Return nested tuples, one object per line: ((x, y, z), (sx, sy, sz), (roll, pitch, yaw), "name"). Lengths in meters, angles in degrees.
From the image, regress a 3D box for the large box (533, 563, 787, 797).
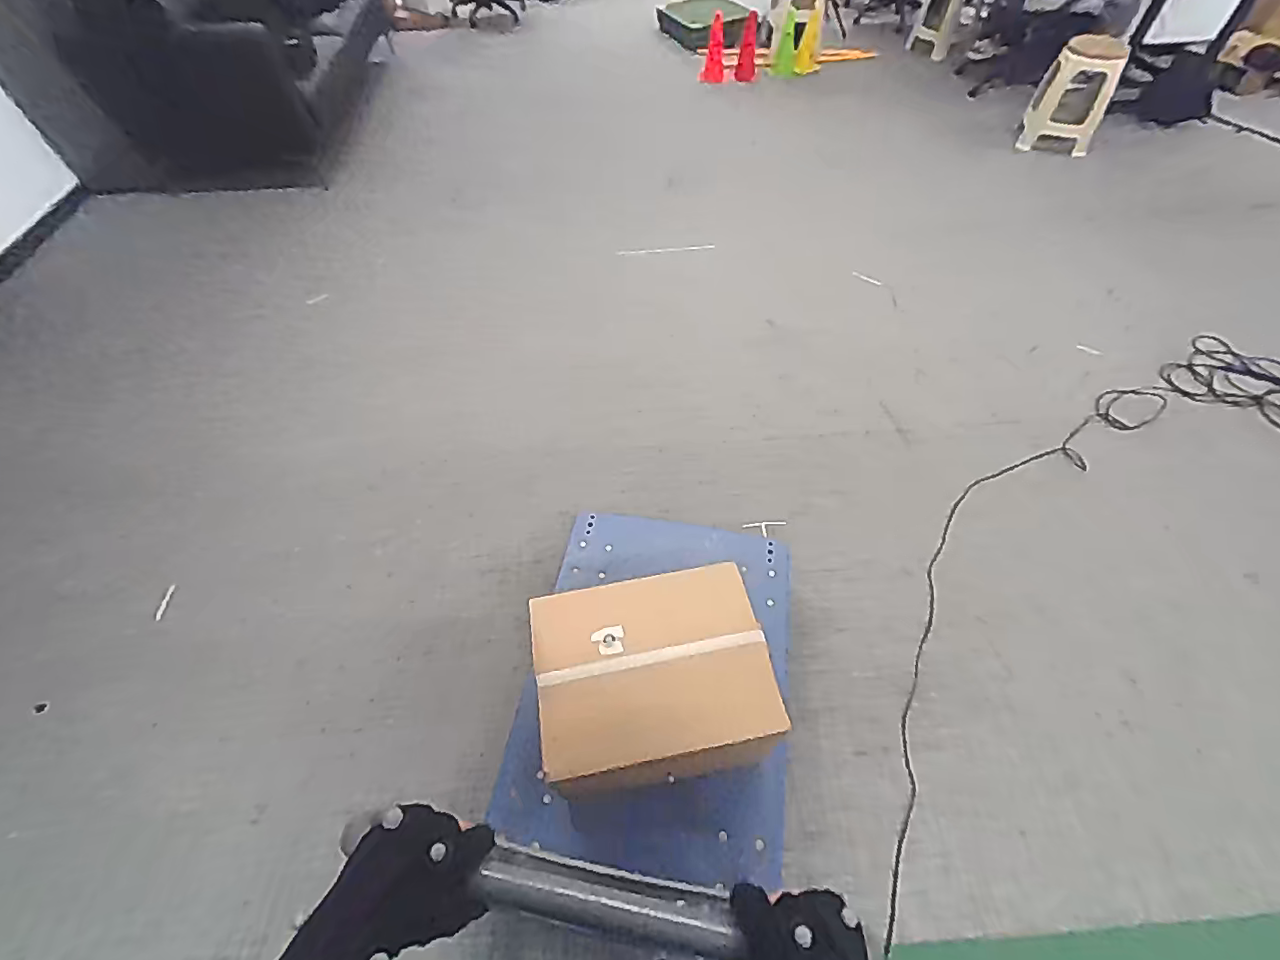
((0.026, 0.404, 1.076), (0.408, 0.320, 0.320), (-10, 54, -5), "large box")
